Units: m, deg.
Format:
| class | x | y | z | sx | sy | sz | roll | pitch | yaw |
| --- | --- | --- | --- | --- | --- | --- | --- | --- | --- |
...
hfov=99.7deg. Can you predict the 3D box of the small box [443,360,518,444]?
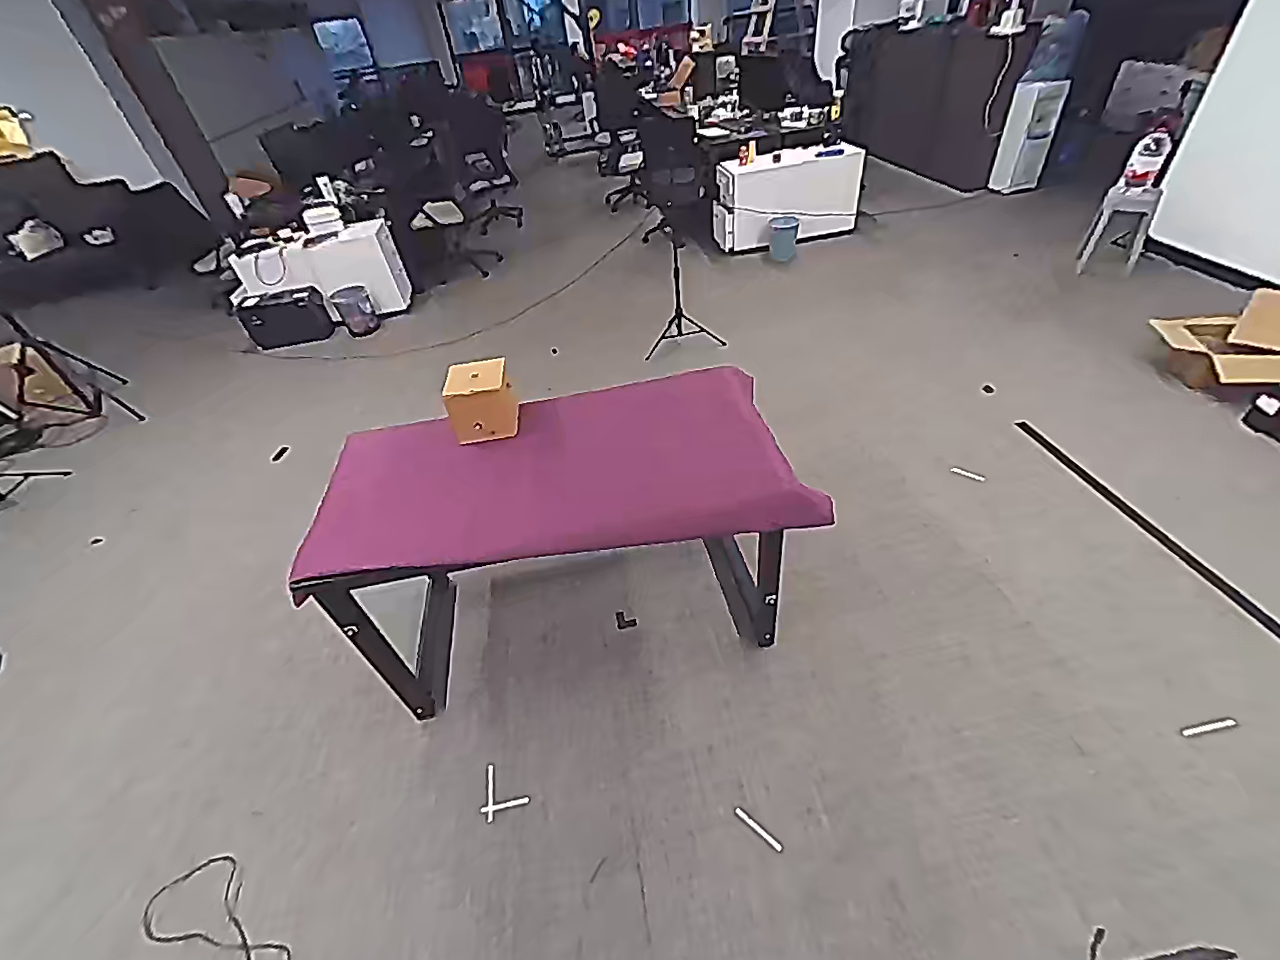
| class | x | y | z | sx | sy | sz | roll | pitch | yaw |
| --- | --- | --- | --- | --- | --- | --- | --- | --- | --- |
| small box | -0.464 | -0.230 | 1.598 | 0.168 | 0.176 | 0.179 | -9 | 42 | -2 |
